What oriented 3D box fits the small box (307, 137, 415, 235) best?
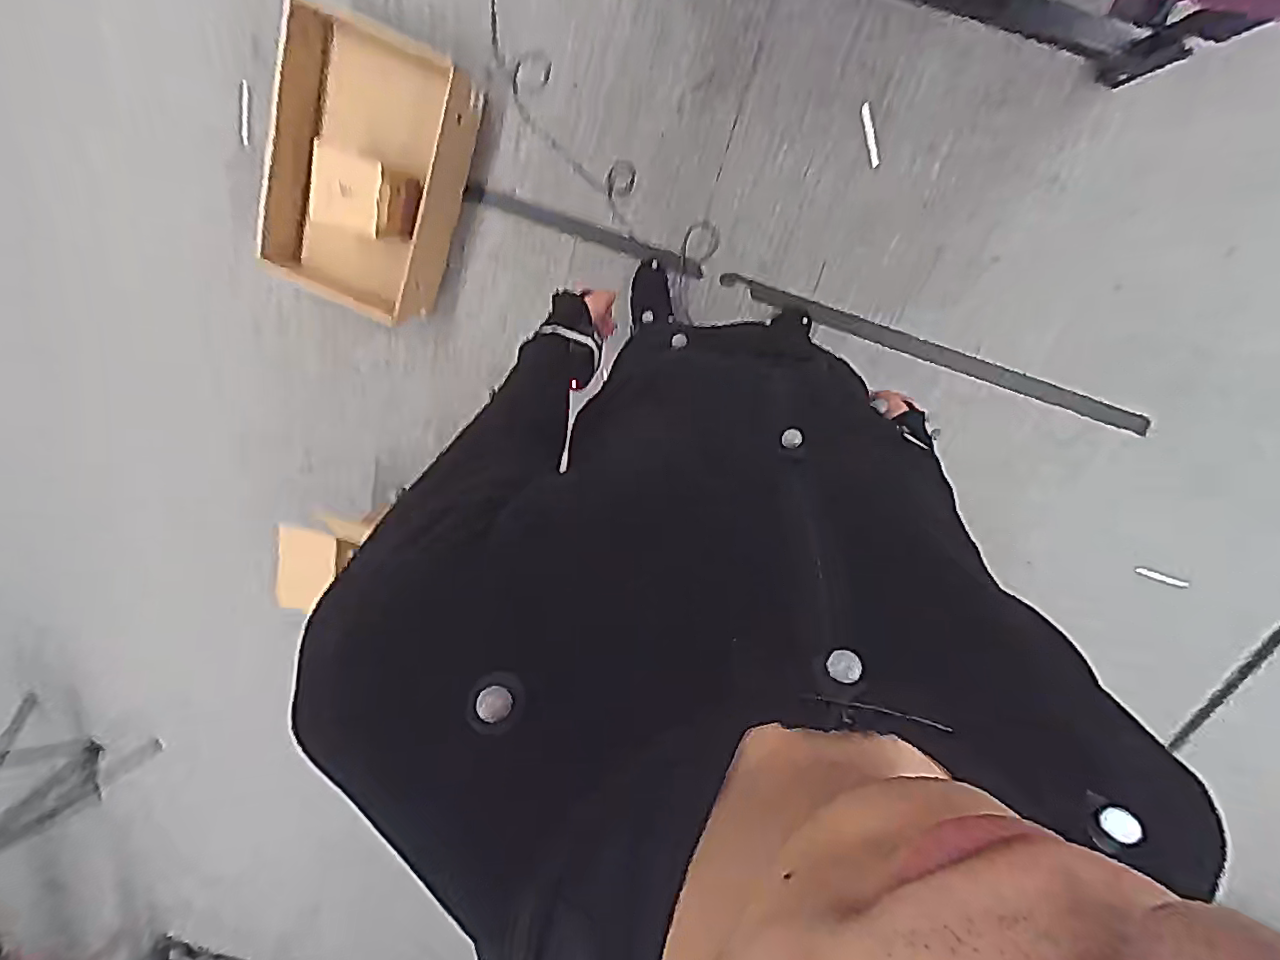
[{"bbox_3d":[-0.694,-0.729,1.359,0.179,0.176,0.168,19,111,-1],"label":"small box"}]
